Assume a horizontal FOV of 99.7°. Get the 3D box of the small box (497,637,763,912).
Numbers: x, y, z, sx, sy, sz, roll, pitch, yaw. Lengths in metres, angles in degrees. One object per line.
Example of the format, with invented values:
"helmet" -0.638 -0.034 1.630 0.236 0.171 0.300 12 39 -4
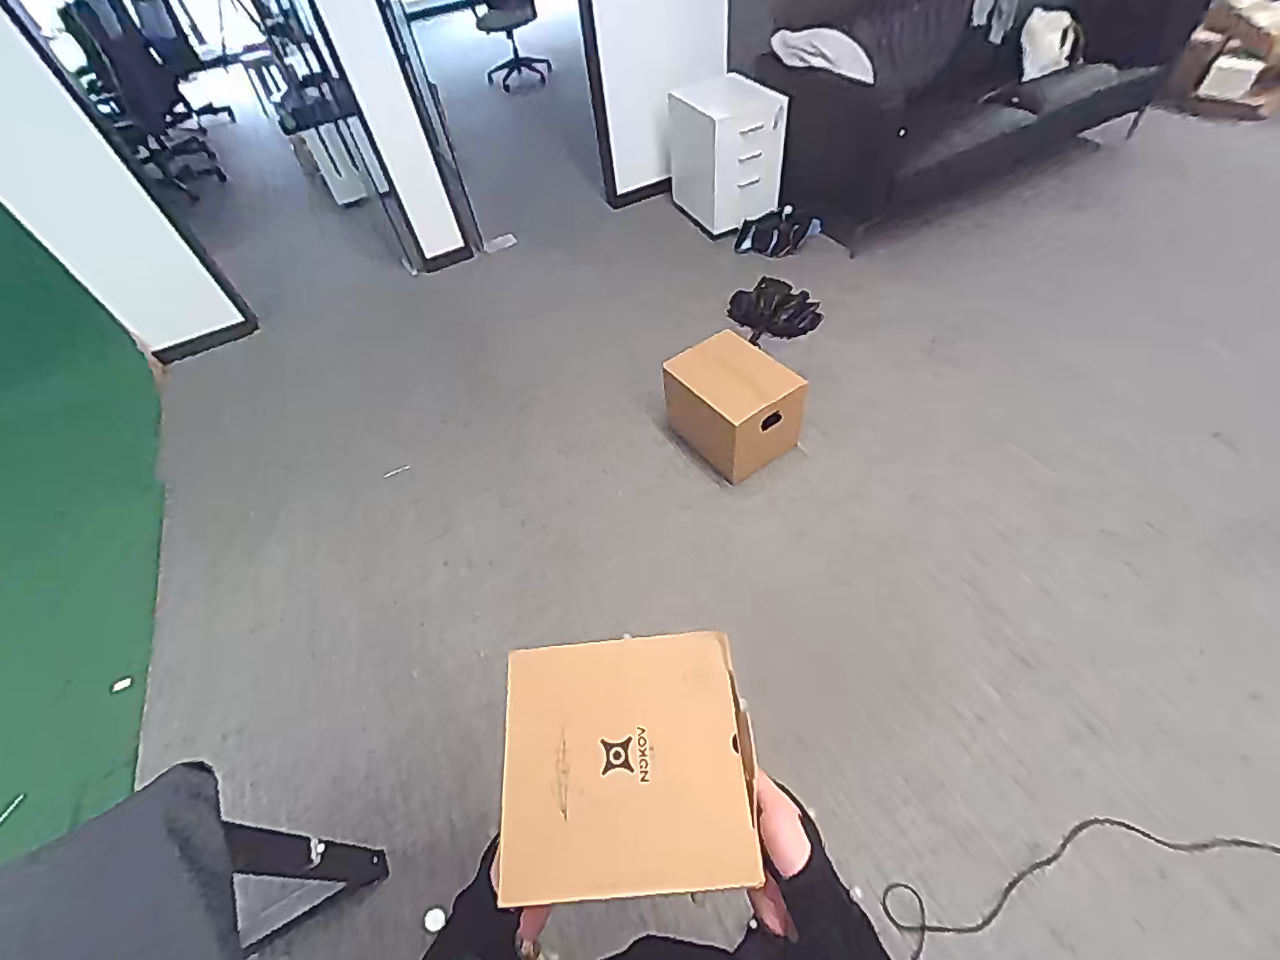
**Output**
"small box" -0.006 0.241 0.456 0.179 0.176 0.168 -7 59 2
